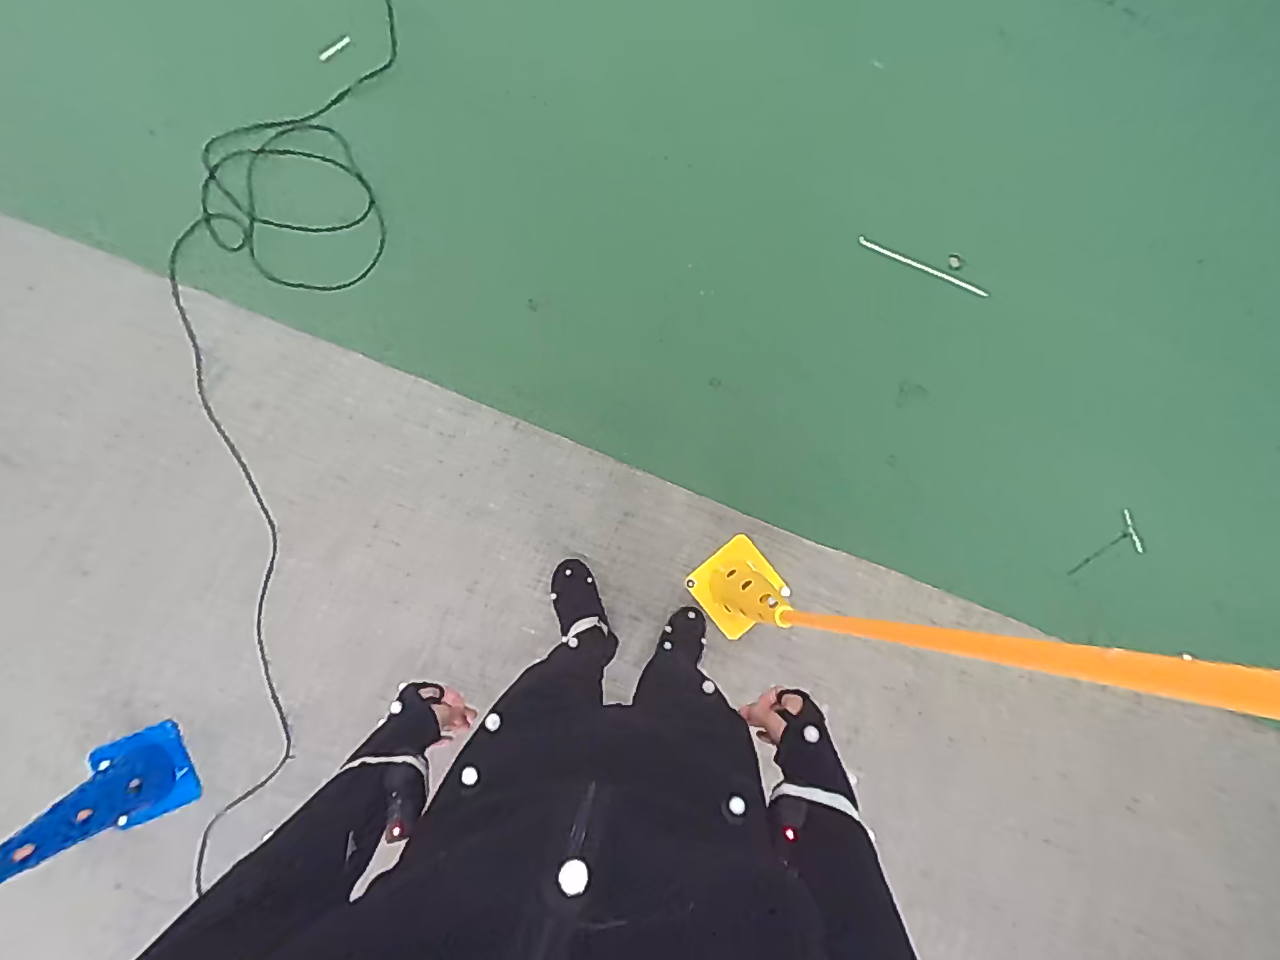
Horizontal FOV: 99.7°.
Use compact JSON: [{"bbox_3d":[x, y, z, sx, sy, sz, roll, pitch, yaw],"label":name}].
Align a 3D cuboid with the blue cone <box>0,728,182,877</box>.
[{"bbox_3d":[-1.130,0.672,1.043,0.193,0.380,0.192,-23,91,-3],"label":"blue cone"}]
